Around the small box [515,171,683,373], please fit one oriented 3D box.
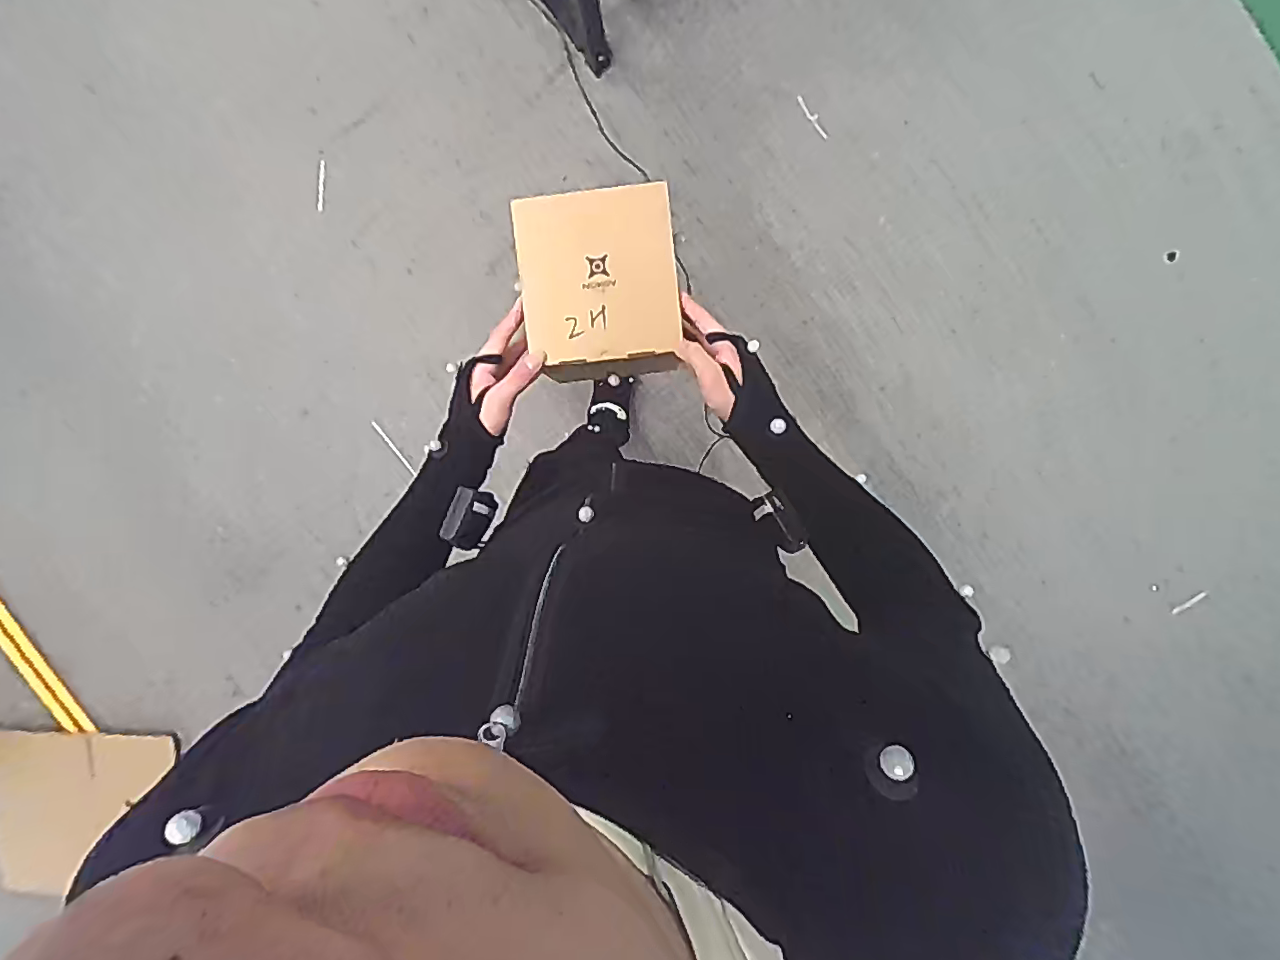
[{"bbox_3d":[-0.042,-0.230,0.640,0.168,0.176,0.179,-5,95,2],"label":"small box"}]
